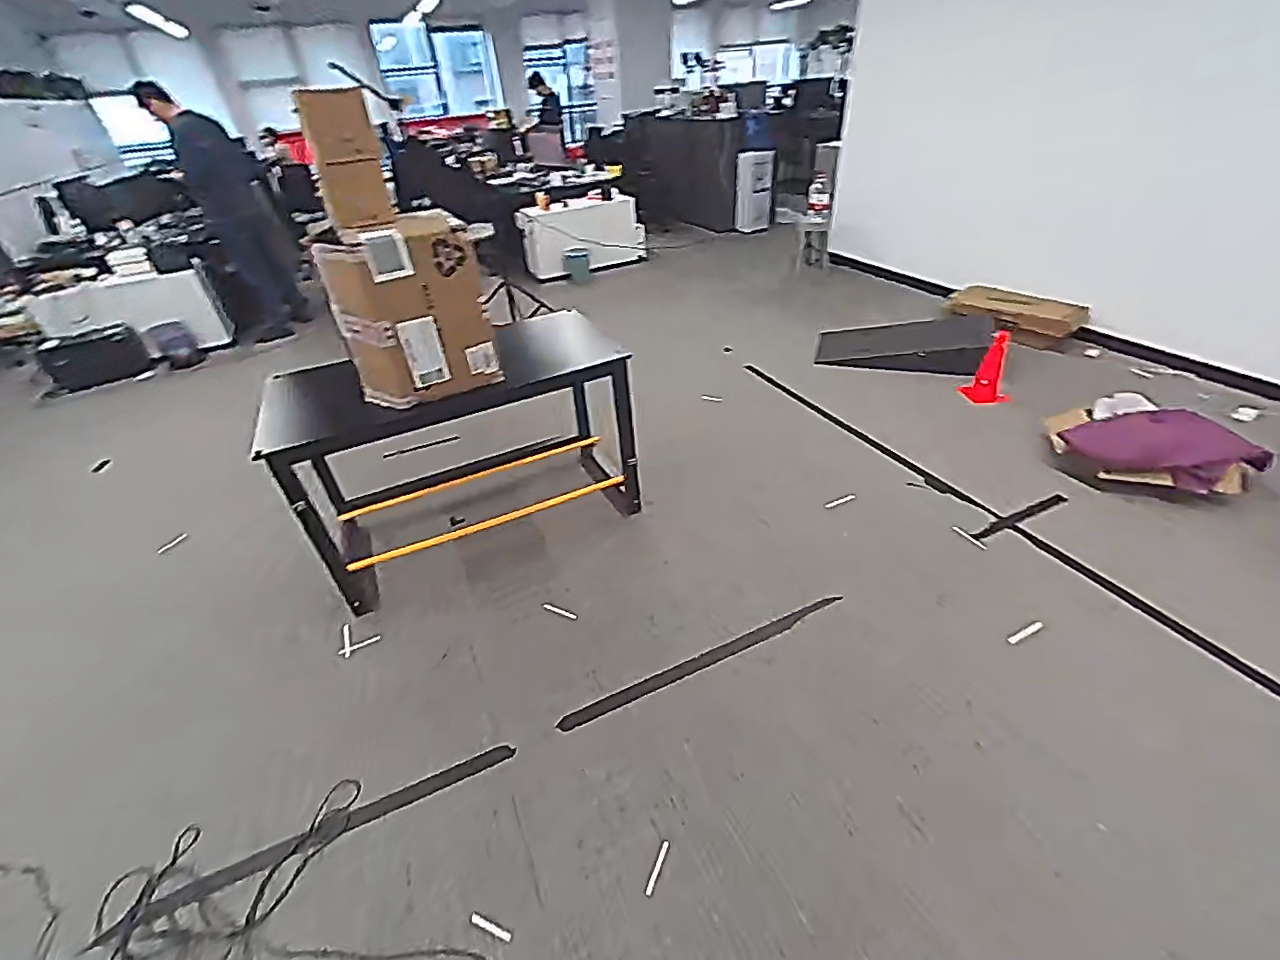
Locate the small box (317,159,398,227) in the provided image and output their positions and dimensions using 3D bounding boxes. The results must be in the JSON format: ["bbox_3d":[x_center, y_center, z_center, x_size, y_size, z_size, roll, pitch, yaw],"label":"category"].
[{"bbox_3d":[-0.850,-0.868,1.629,0.168,0.176,0.179,-22,38,-23],"label":"small box"}]

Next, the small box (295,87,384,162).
[{"bbox_3d":[-0.850,-1.003,1.533,0.168,0.176,0.179,-23,38,-25],"label":"small box"}]
